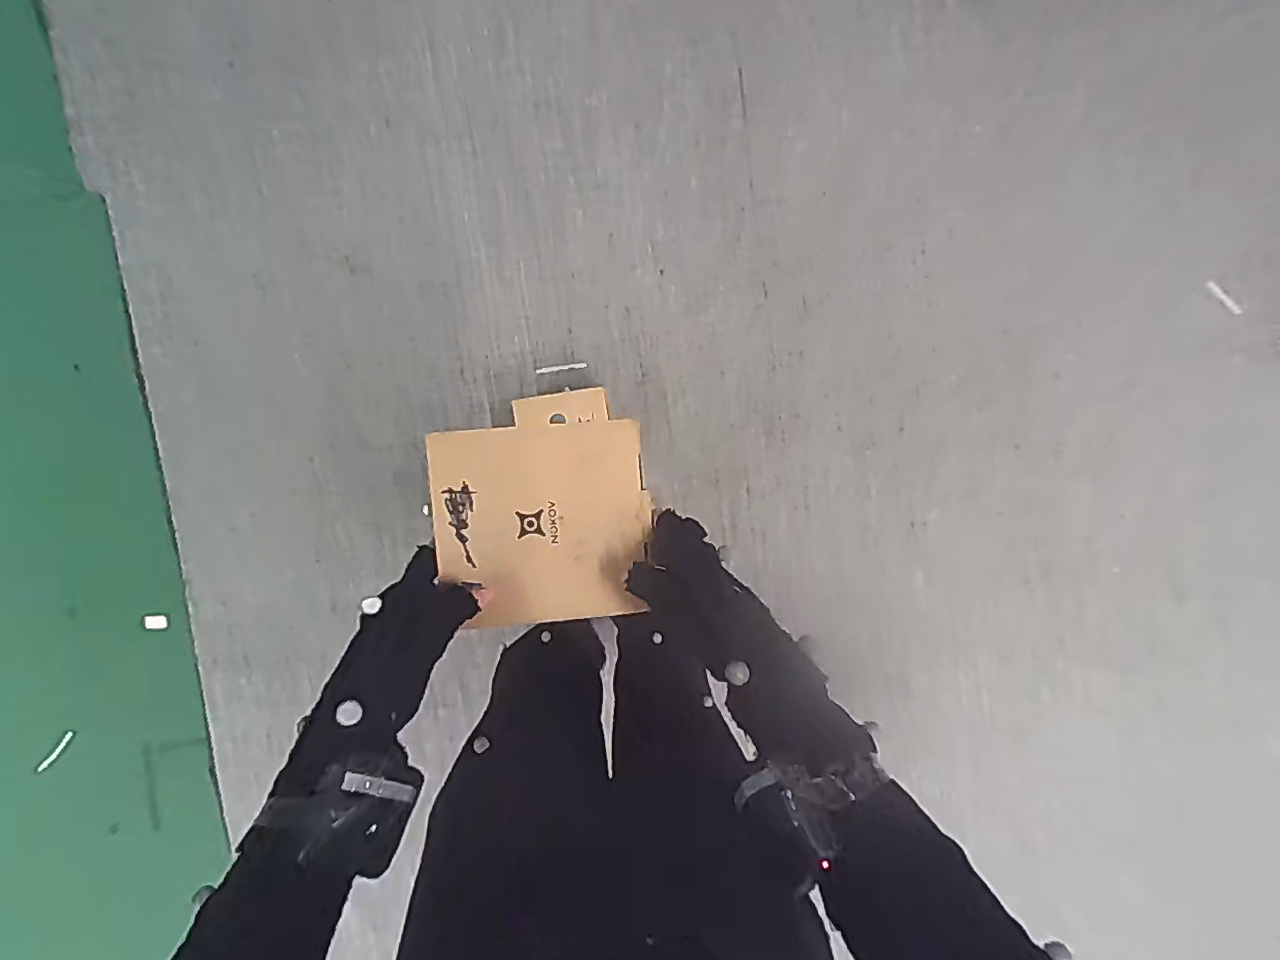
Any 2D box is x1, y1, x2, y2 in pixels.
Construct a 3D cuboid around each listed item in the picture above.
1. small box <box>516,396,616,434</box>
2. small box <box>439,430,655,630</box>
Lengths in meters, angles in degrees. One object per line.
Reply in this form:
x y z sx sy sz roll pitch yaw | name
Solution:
-0.135 -0.072 1.083 0.179 0.176 0.168 -8 93 2 | small box
-0.085 0.037 0.539 0.179 0.176 0.168 -4 92 -5 | small box
